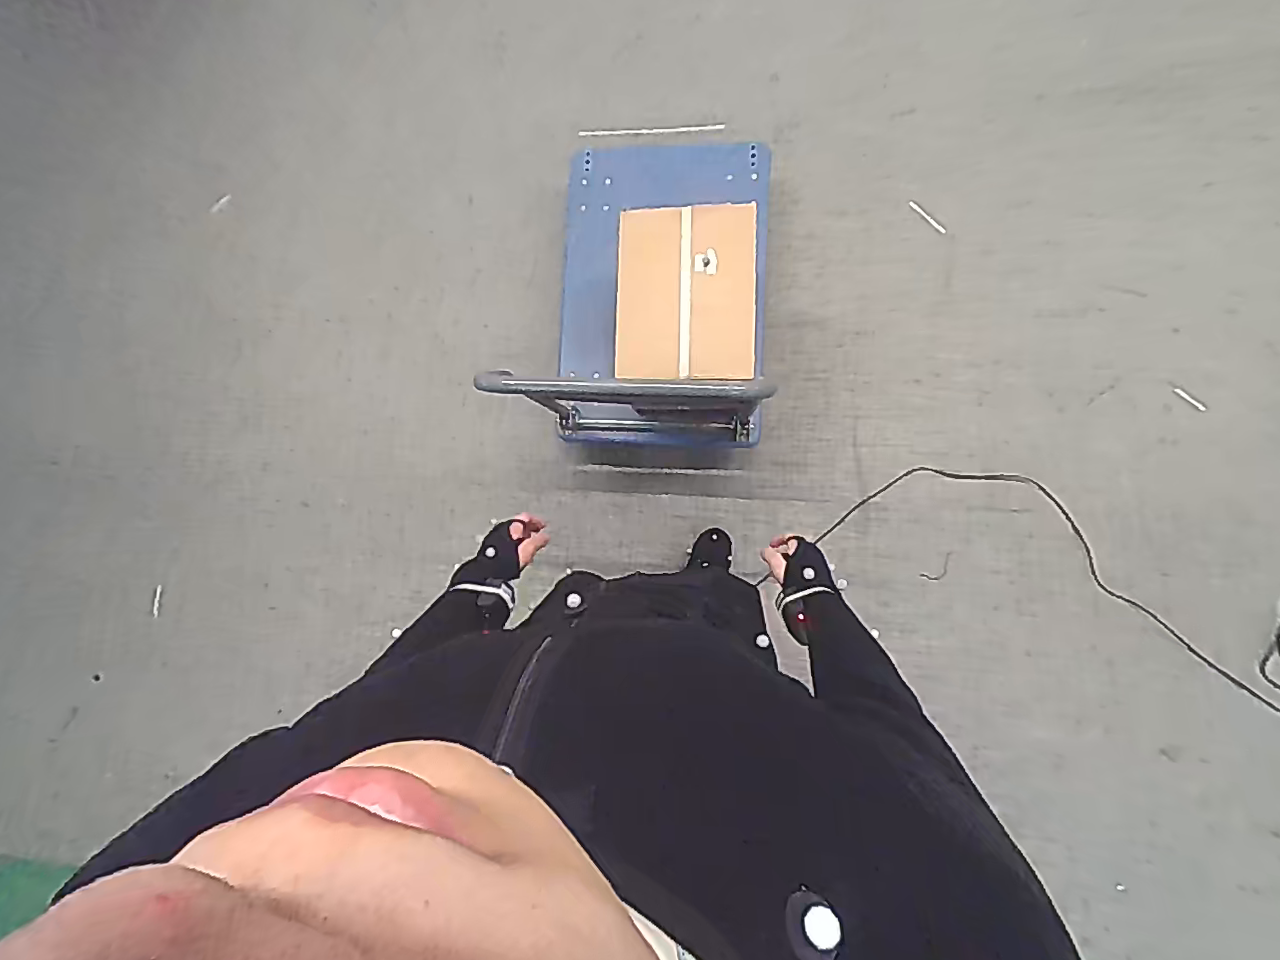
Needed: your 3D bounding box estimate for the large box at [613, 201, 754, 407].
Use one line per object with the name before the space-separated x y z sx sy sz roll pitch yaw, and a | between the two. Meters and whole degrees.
large box | 0.116 -0.412 1.354 0.320 0.320 0.408 1 85 7
